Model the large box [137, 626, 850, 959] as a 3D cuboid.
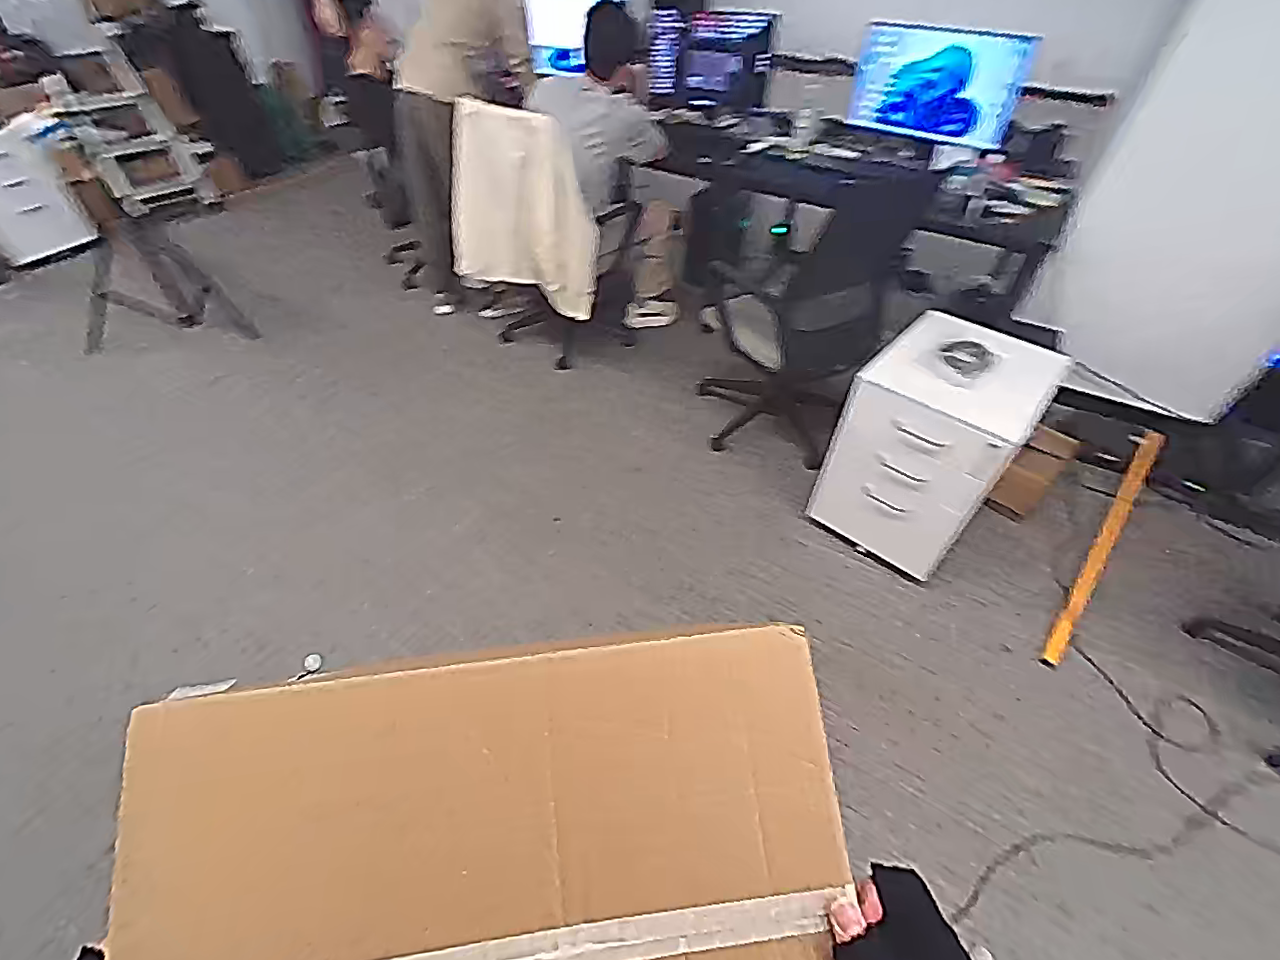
[{"bbox_3d":[-0.087,0.305,0.450,0.408,0.320,0.320,-6,77,-4],"label":"large box"}]
